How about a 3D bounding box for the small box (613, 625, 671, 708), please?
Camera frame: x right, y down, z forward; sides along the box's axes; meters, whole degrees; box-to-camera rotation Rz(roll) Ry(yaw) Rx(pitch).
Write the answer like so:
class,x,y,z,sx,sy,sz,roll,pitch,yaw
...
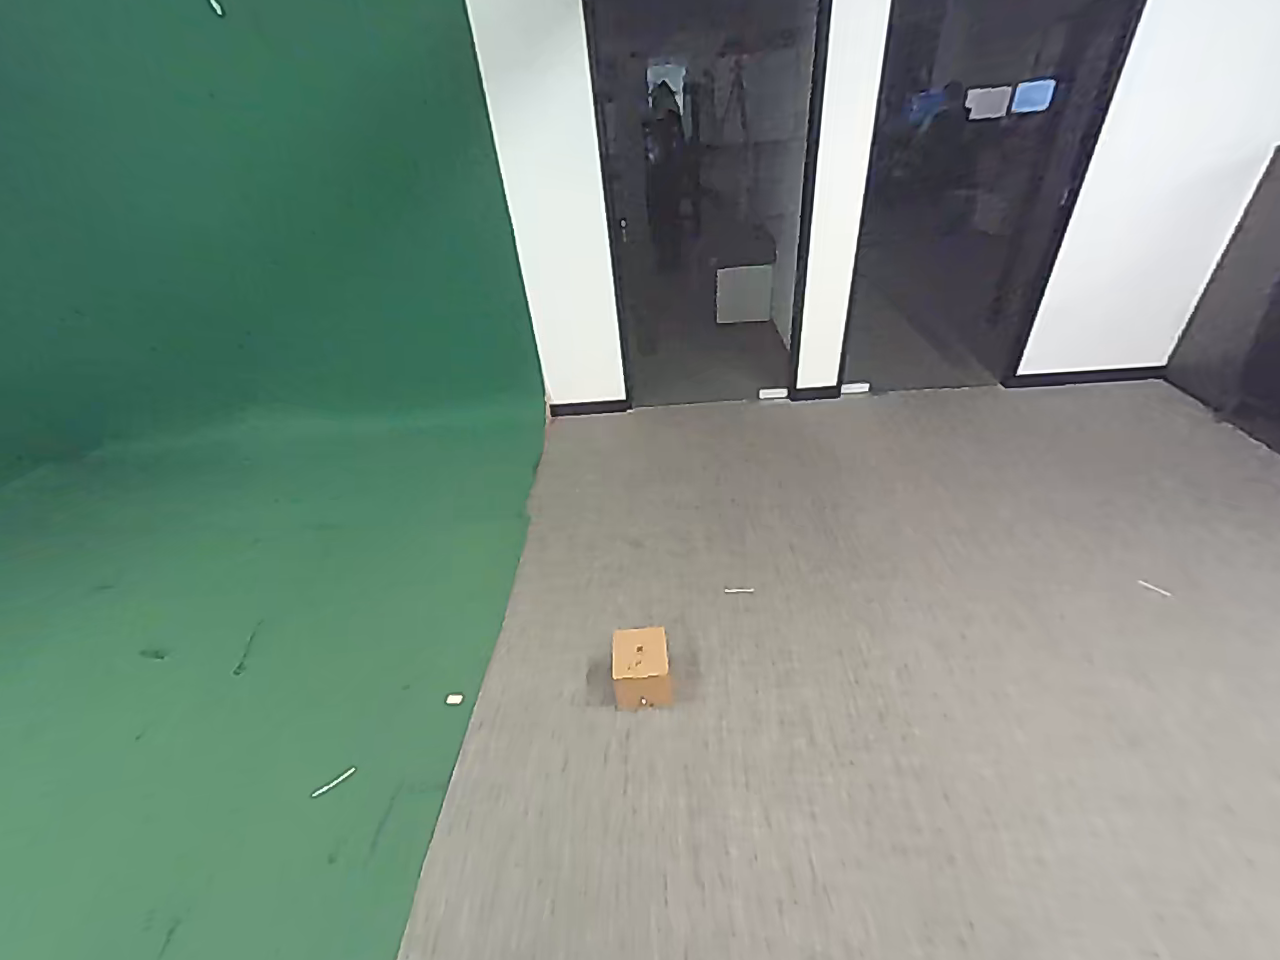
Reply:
class,x,y,z,sx,sy,sz,roll,pitch,yaw
small box,0.007,0.576,1.670,0.168,0.176,0.179,-5,35,1
